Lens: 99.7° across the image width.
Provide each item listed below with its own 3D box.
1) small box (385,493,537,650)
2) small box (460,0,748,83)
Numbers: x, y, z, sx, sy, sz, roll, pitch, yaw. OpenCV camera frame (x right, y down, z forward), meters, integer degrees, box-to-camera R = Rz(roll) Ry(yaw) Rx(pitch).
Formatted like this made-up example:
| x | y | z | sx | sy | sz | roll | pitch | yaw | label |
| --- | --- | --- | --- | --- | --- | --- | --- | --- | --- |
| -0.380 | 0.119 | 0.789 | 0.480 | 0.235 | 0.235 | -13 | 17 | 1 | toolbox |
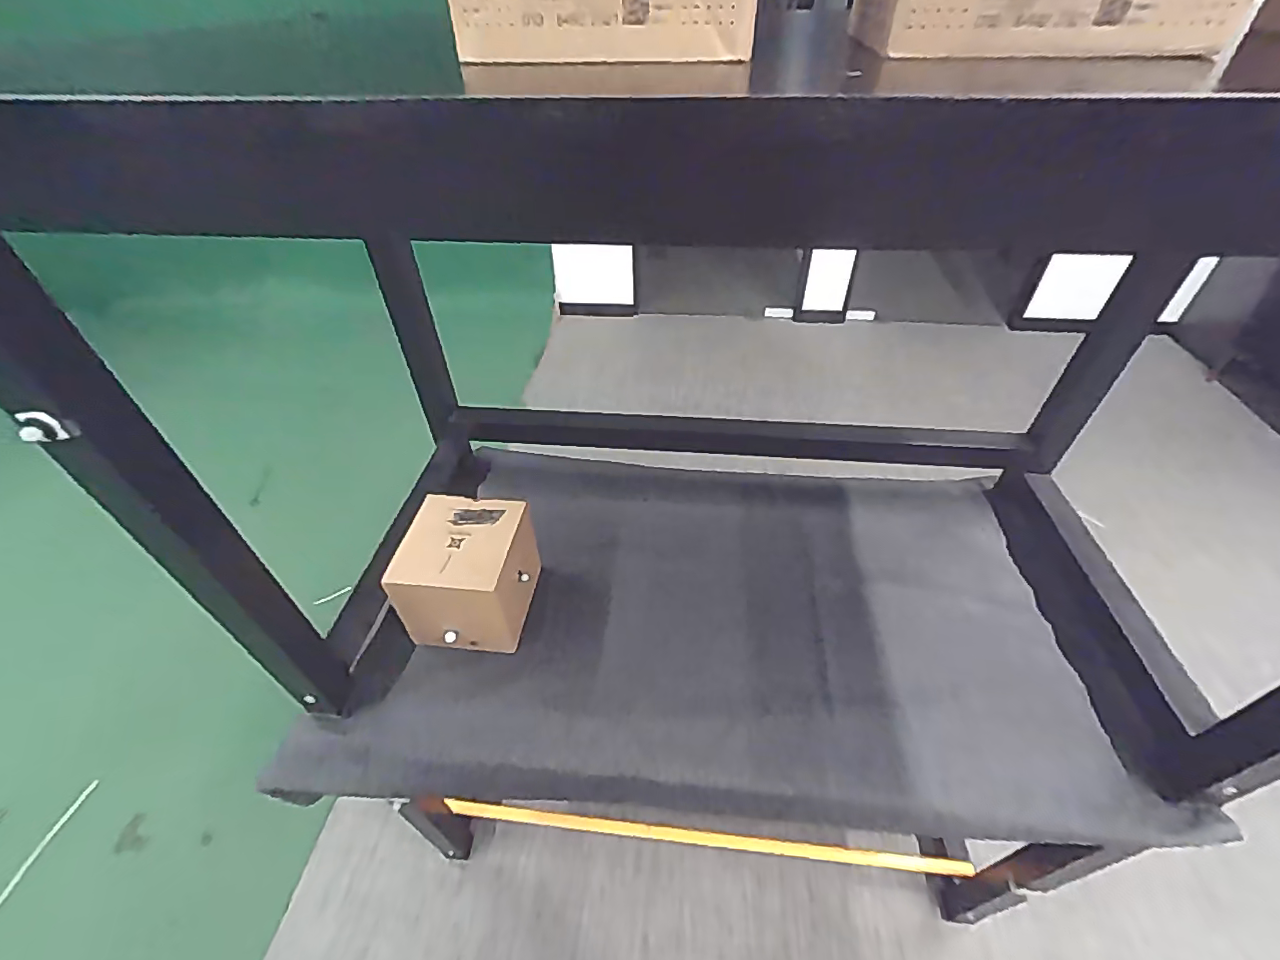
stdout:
| x | y | z | sx | sy | sz | roll | pitch | yaw | label |
| --- | --- | --- | --- | --- | --- | --- | --- | --- | --- |
| -0.269 | 0.145 | 0.865 | 0.168 | 0.176 | 0.179 | 4 | 43 | 5 | small box |
| -0.015 | -0.350 | 0.323 | 0.168 | 0.176 | 0.179 | 4 | 43 | 5 | small box |
